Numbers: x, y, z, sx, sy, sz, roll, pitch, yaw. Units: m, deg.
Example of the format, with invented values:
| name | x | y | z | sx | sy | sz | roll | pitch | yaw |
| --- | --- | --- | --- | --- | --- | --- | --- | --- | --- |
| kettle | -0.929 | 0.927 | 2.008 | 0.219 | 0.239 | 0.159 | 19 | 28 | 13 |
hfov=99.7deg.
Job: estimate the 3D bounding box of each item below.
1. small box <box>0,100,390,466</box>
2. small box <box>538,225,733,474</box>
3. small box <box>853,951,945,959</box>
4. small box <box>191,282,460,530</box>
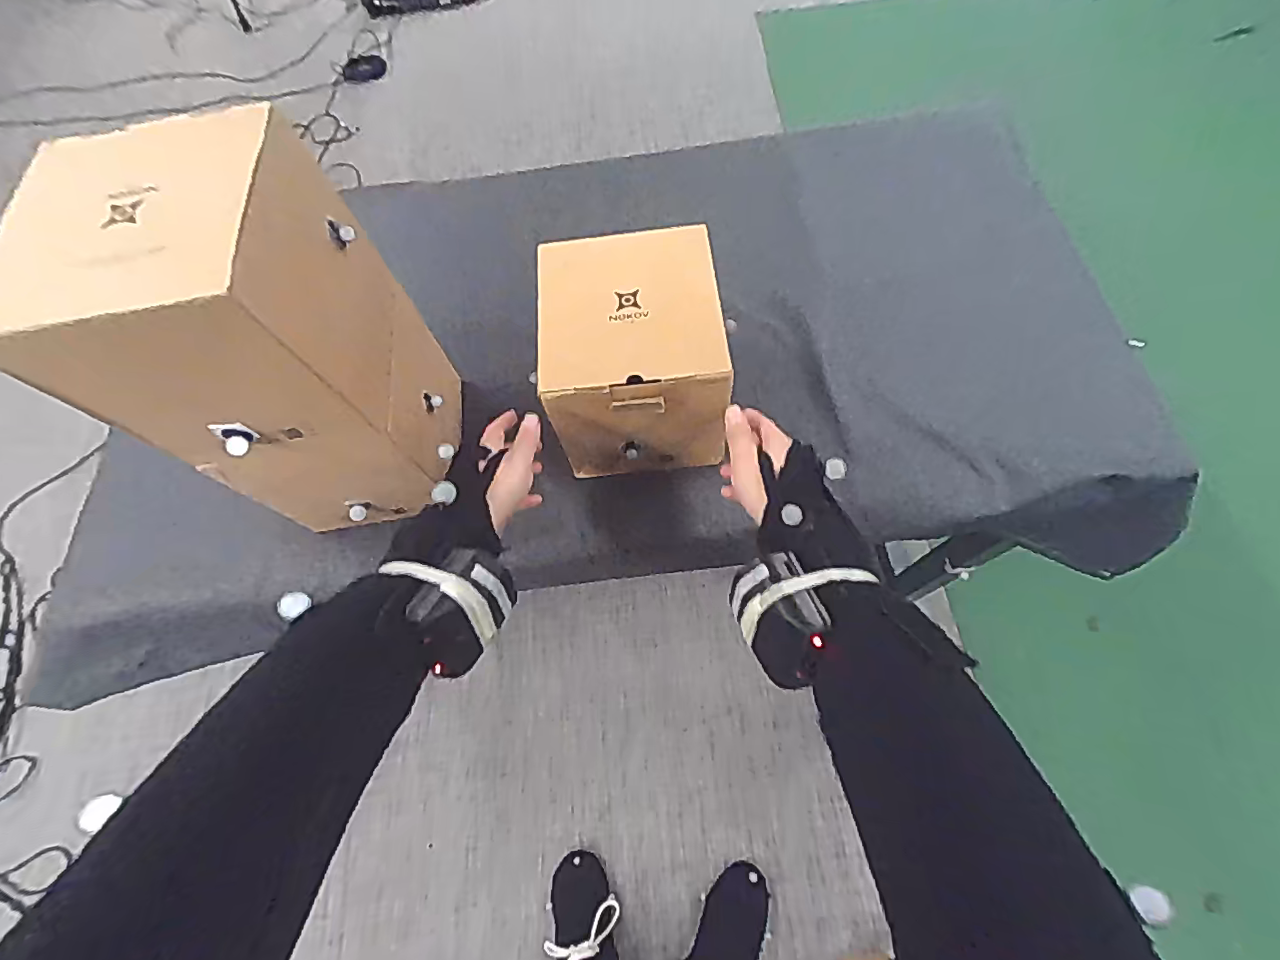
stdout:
| name | x | y | z | sx | sy | sz | roll | pitch | yaw |
| --- | --- | --- | --- | --- | --- | --- | --- | --- | --- |
| small box | -0.306 | -0.132 | 0.402 | 0.168 | 0.176 | 0.179 | -10 | 66 | 1 |
| small box | -0.006 | -0.125 | 0.555 | 0.168 | 0.176 | 0.179 | -6 | 66 | 1 |
| small box | 0.444 | 0.888 | 0.861 | 0.179 | 0.176 | 0.168 | -8 | 65 | 3 |
| small box | -0.294 | -0.066 | 0.550 | 0.168 | 0.176 | 0.179 | -10 | 66 | 1 |
